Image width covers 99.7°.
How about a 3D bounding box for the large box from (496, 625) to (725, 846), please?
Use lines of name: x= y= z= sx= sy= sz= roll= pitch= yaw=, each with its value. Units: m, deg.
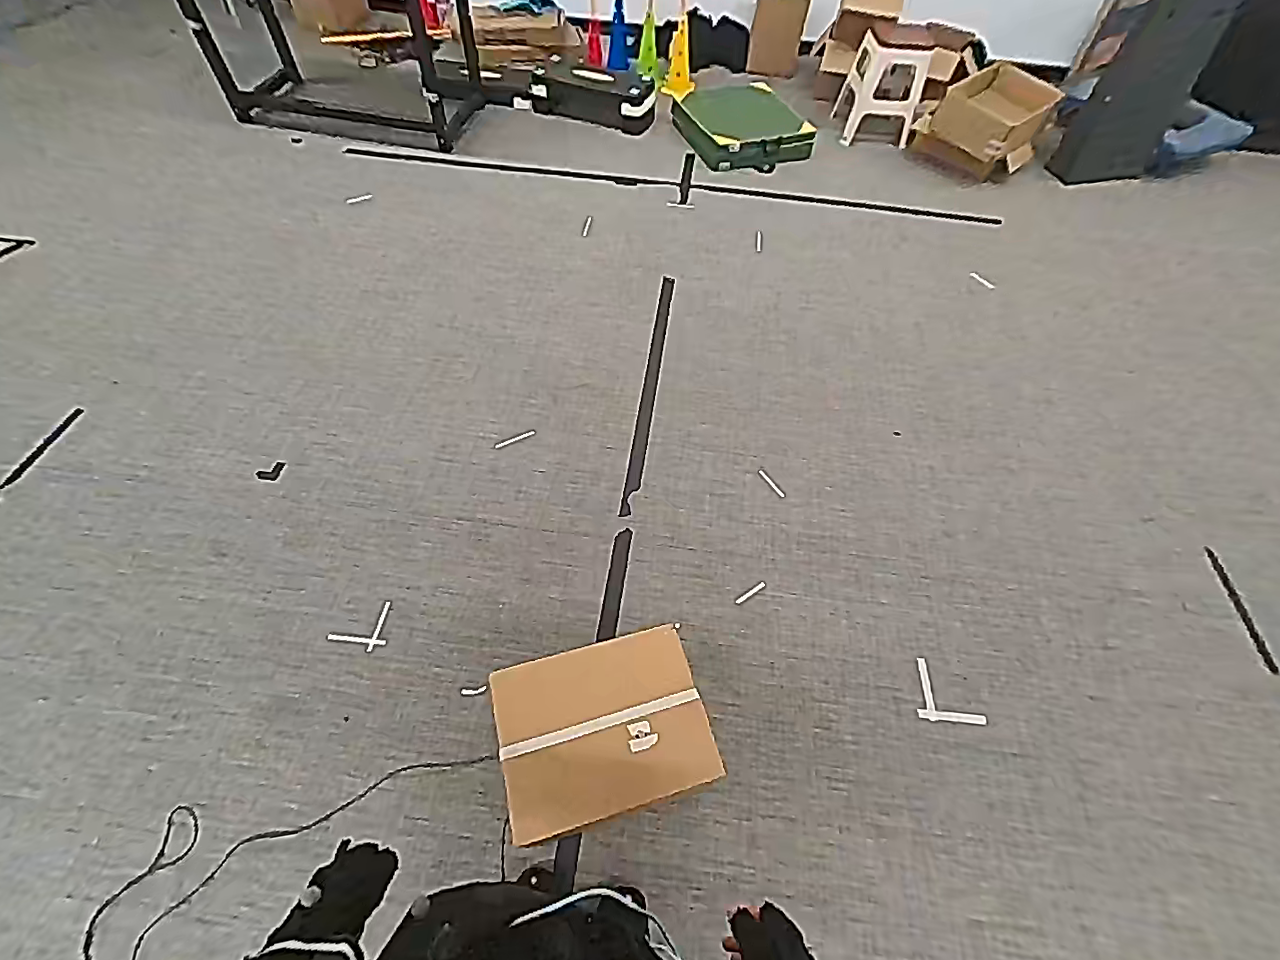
large box: x=-0.078 y=0.568 z=1.198 sx=0.408 sy=0.320 sz=0.320 roll=-11 pitch=58 yaw=-13
